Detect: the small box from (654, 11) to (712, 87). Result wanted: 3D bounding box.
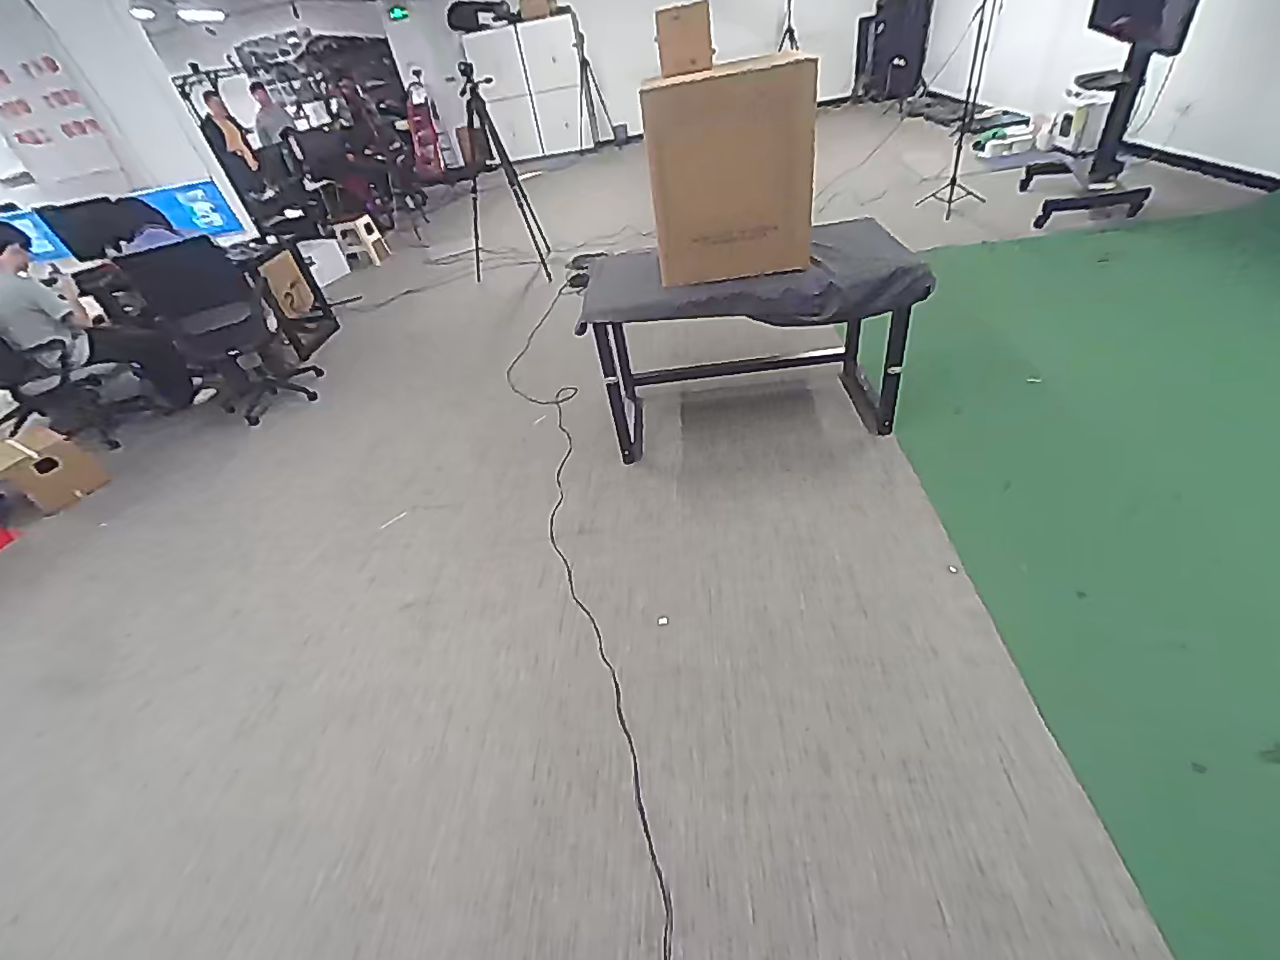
[{"bbox_3d":[0.141,-1.391,1.753,0.168,0.176,0.179,-6,37,8],"label":"small box"}]
